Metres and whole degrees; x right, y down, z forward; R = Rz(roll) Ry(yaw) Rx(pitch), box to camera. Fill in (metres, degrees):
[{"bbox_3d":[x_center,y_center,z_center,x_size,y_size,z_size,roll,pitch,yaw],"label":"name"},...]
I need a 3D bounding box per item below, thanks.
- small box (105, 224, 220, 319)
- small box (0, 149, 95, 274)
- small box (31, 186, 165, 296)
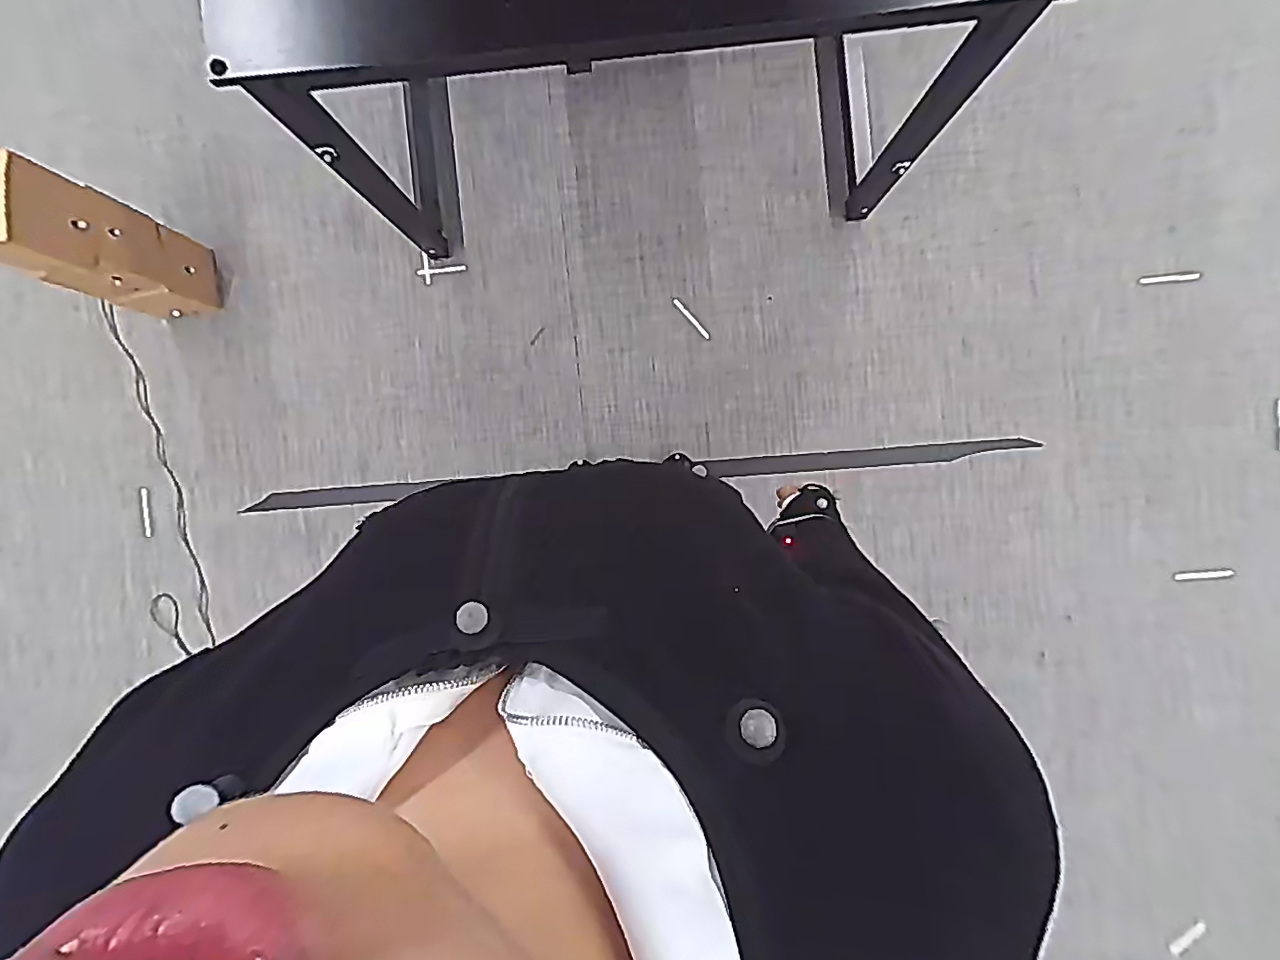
[{"bbox_3d":[-1.257,-0.542,1.421,0.168,0.176,0.179,-8,92,2],"label":"small box"},{"bbox_3d":[-1.265,-0.538,1.094,0.168,0.176,0.179,2,91,1],"label":"small box"},{"bbox_3d":[-1.263,-0.543,1.259,0.168,0.176,0.179,-12,90,1],"label":"small box"}]
